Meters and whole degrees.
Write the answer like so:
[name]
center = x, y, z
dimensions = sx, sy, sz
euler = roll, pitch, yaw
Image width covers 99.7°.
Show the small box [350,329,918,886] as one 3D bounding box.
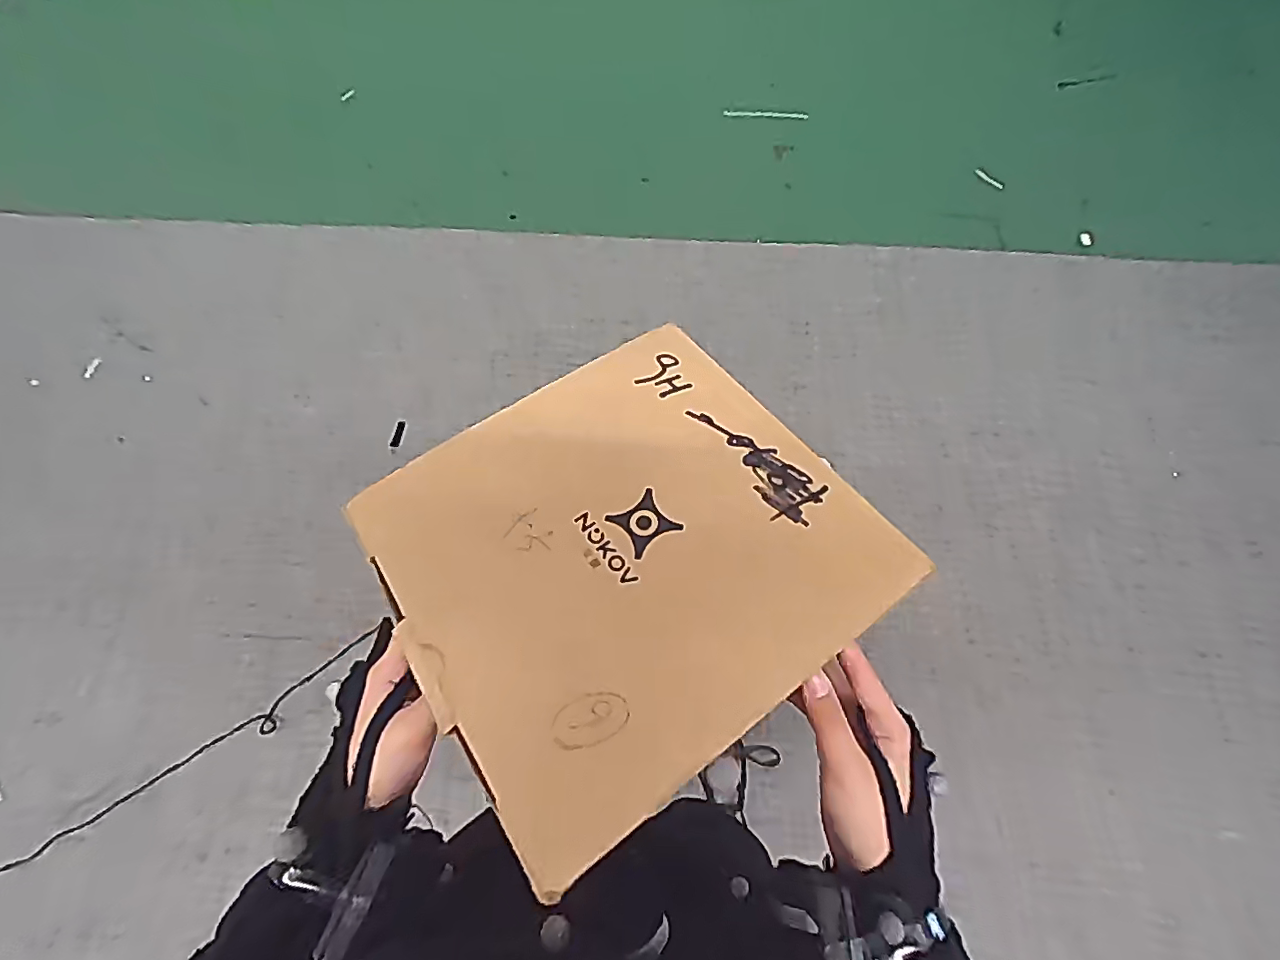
[small box]
center = -0.004, 0.064, 0.284
dimensions = 0.179, 0.176, 0.168
euler = -33, 63, -16
